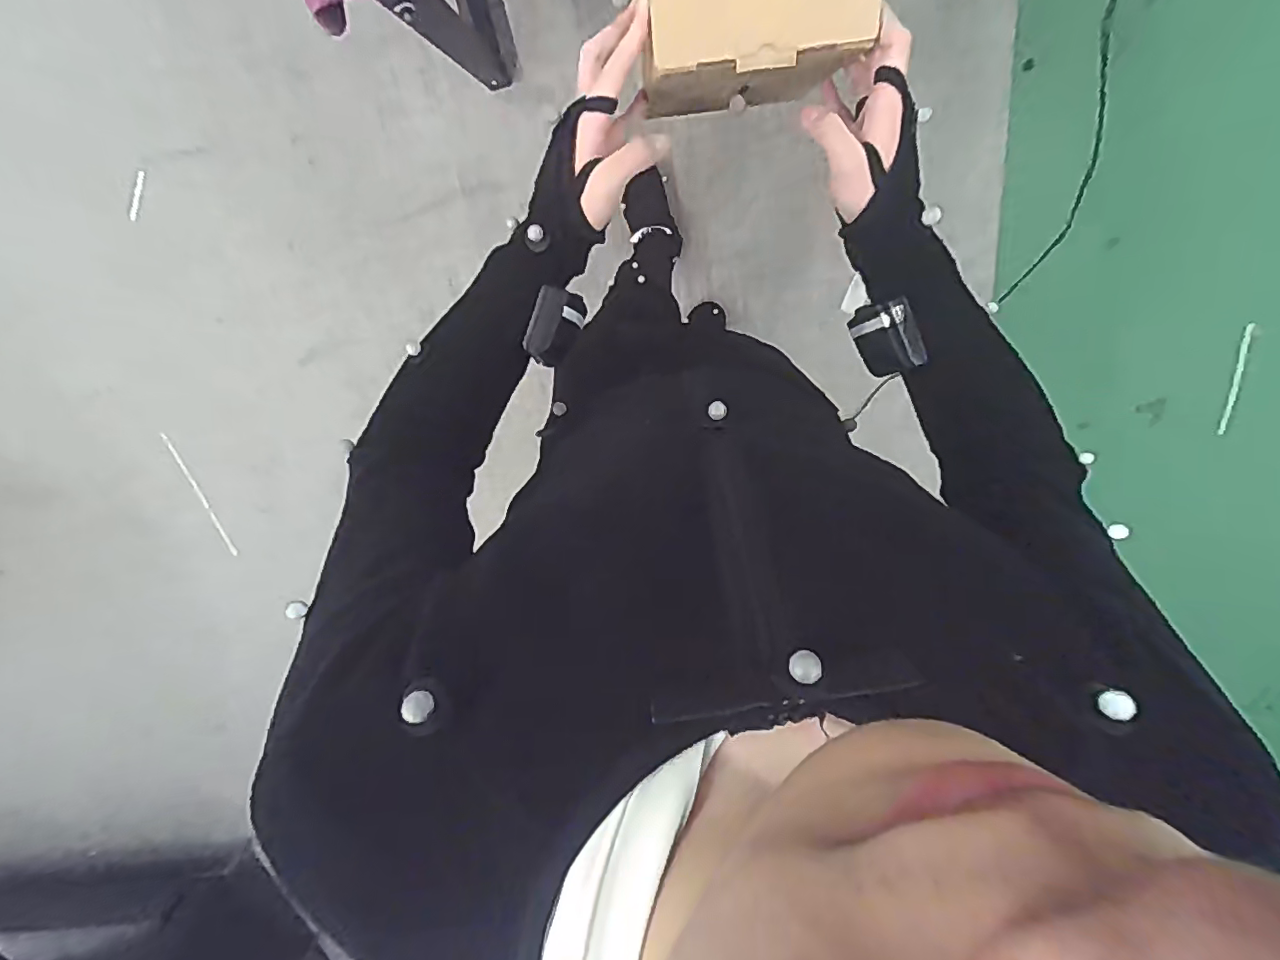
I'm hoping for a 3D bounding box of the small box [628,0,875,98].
[{"bbox_3d":[0.075,-0.424,0.428,0.168,0.176,0.179,-8,116,0],"label":"small box"}]
